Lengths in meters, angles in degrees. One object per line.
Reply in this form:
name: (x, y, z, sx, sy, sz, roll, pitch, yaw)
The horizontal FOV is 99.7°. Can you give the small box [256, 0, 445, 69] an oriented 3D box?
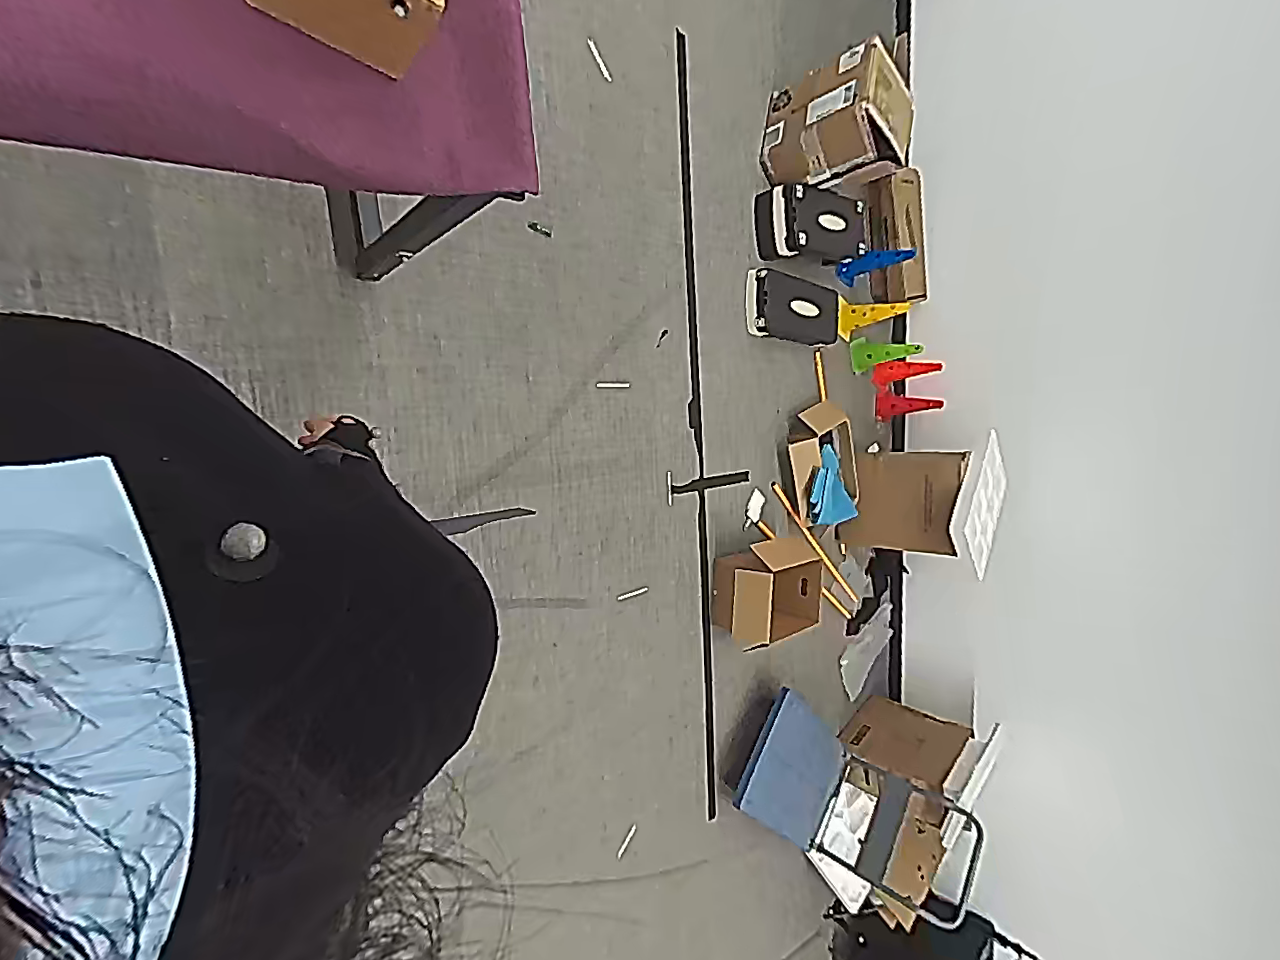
small box: (-0.334, -0.624, 0.615, 0.179, 0.176, 0.168, 3, 92, -42)
